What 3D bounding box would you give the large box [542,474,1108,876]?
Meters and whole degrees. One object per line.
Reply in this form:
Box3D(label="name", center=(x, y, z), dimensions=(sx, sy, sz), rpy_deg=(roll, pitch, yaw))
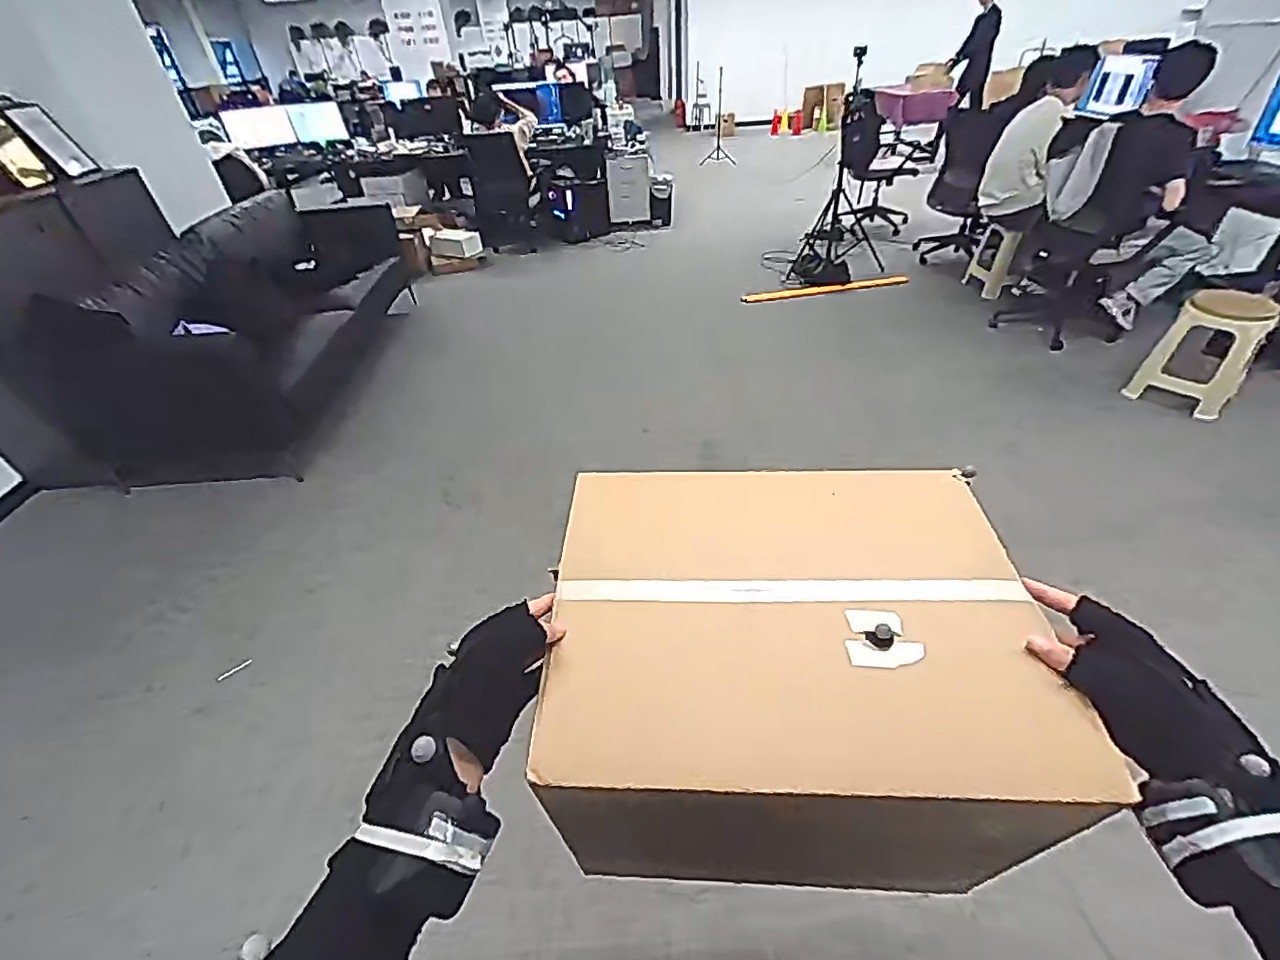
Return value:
Box3D(label="large box", center=(0.136, 0.212, 0.588), dimensions=(0.408, 0.320, 0.320), rpy_deg=(-1, 45, 4))
